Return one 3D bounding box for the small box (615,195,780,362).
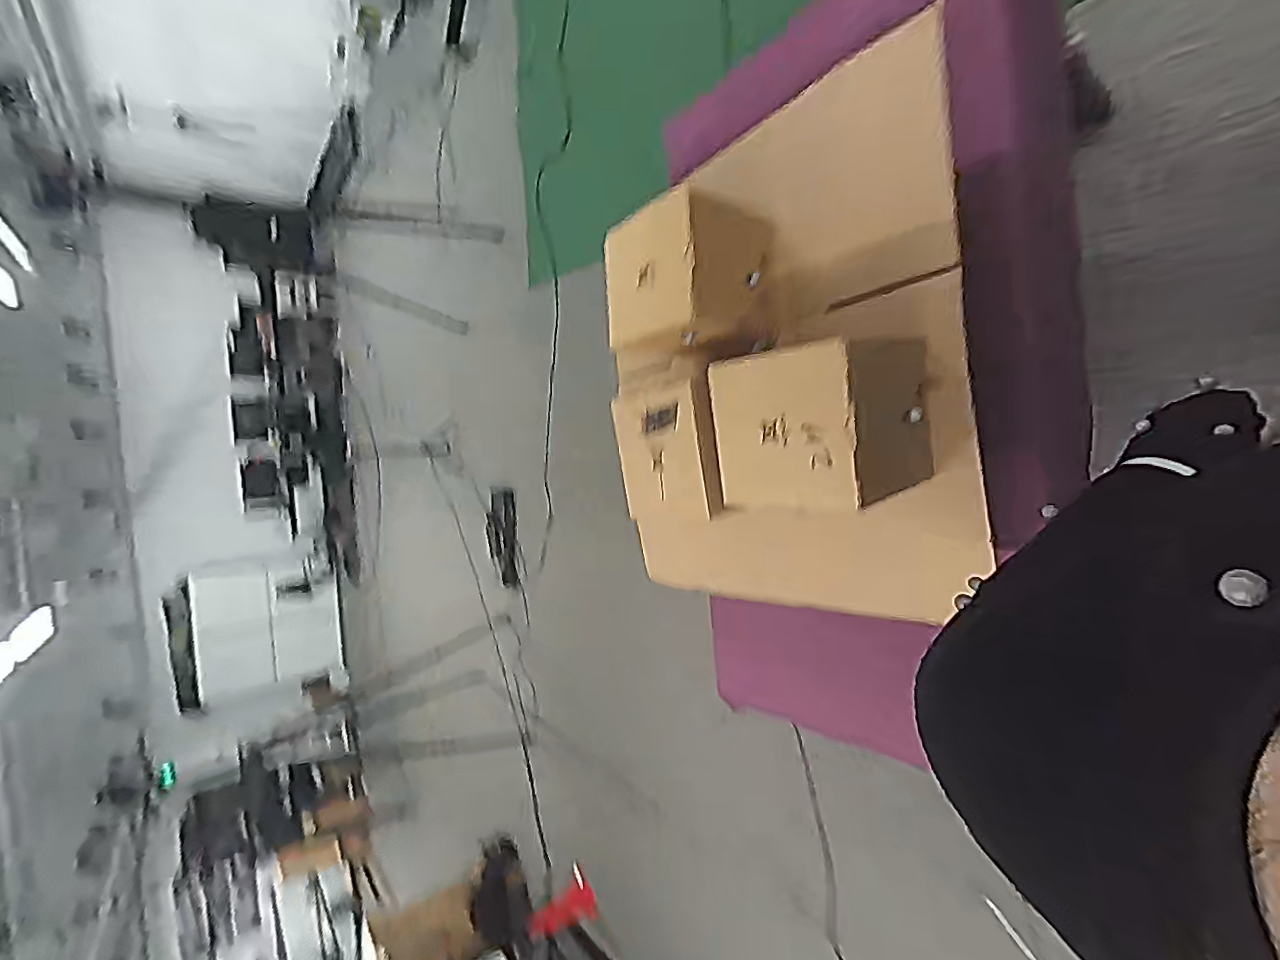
[{"bbox_3d":[0.081,-0.275,0.787,0.179,0.176,0.168,-3,89,51],"label":"small box"}]
